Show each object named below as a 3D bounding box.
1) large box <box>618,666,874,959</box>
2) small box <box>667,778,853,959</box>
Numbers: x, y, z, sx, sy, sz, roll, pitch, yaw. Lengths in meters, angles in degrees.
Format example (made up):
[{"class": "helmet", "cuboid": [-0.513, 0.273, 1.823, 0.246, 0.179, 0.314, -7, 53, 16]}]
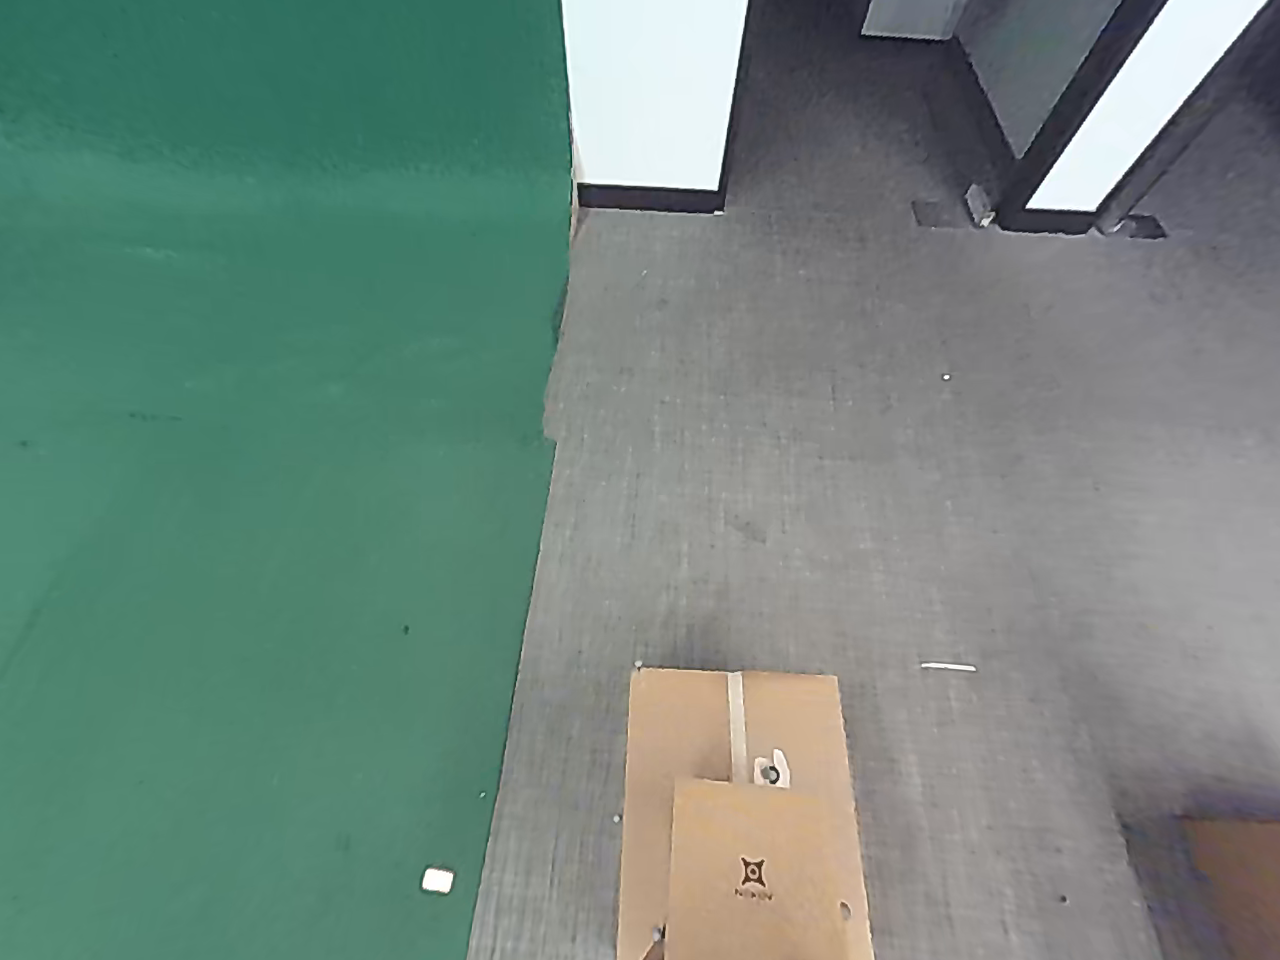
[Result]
[{"class": "large box", "cuboid": [0.134, 0.534, 0.849, 0.320, 0.320, 0.408, 2, 60, 1]}, {"class": "small box", "cuboid": [0.117, 0.453, 0.584, 0.168, 0.176, 0.179, 3, 41, 5]}]
